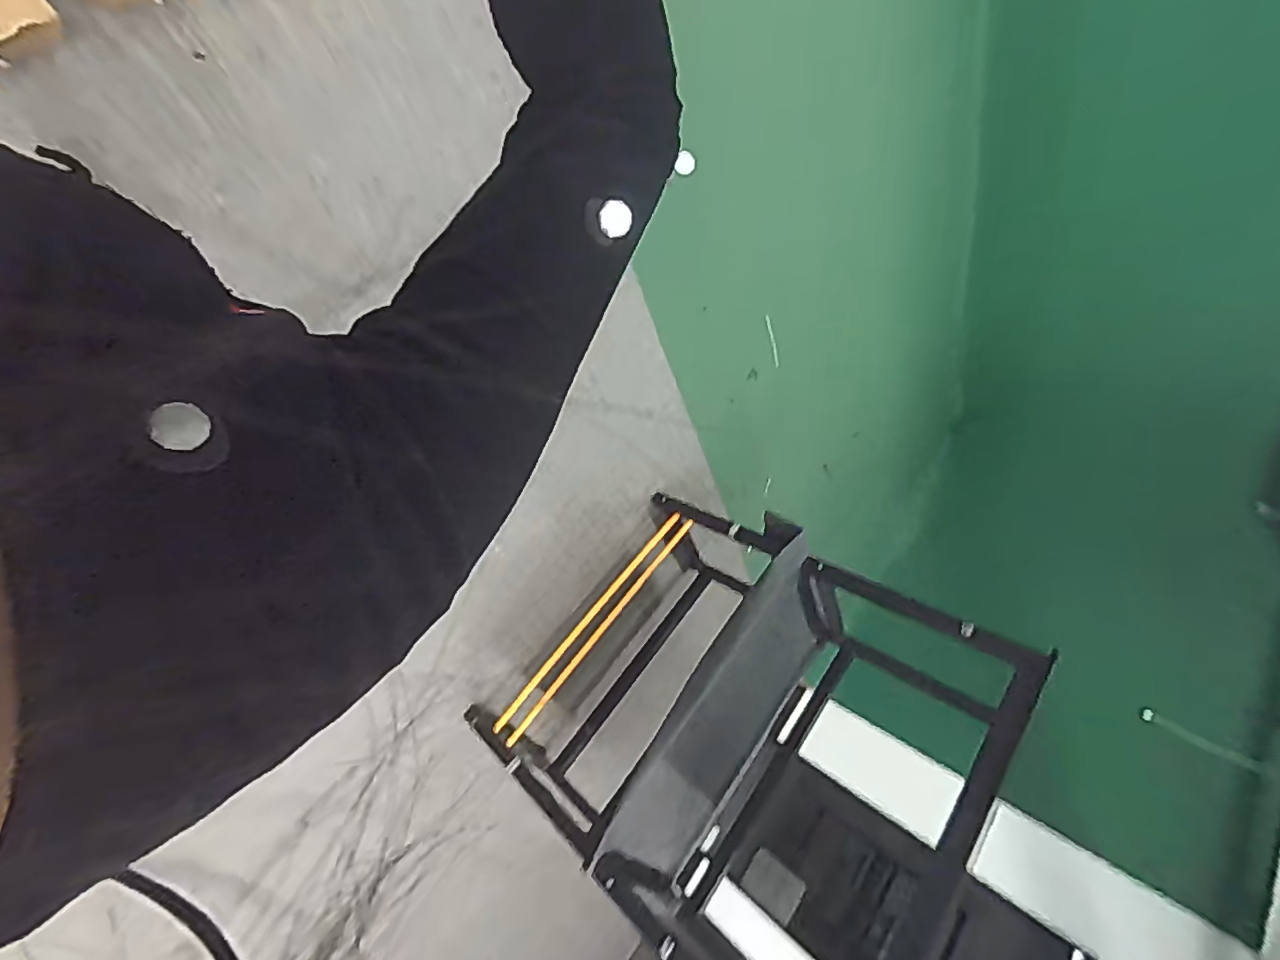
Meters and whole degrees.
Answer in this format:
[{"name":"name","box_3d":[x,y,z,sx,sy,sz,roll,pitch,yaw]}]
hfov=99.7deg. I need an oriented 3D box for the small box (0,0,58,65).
[{"name":"small box","box_3d":[-1.004,-0.716,0.771,0.168,0.176,0.179,-47,136,-22]}]
